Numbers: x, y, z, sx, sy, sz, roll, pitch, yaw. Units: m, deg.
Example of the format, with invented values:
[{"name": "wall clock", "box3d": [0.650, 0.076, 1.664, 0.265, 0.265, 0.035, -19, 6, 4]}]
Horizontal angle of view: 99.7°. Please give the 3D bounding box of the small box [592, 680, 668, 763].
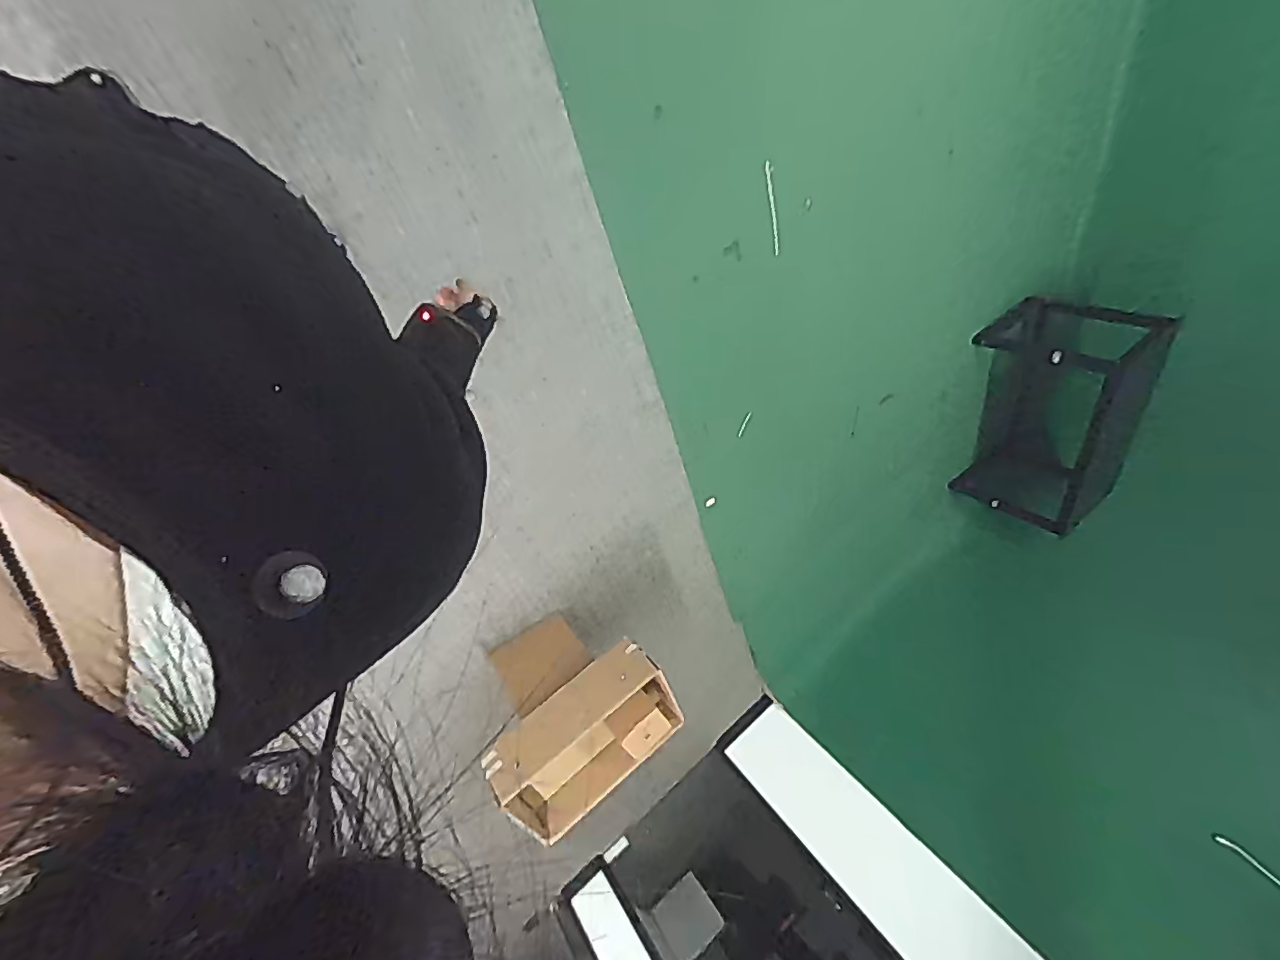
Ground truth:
[{"name": "small box", "box3d": [-0.035, 0.827, 1.863, 0.168, 0.176, 0.179, -40, 133, -16]}]
